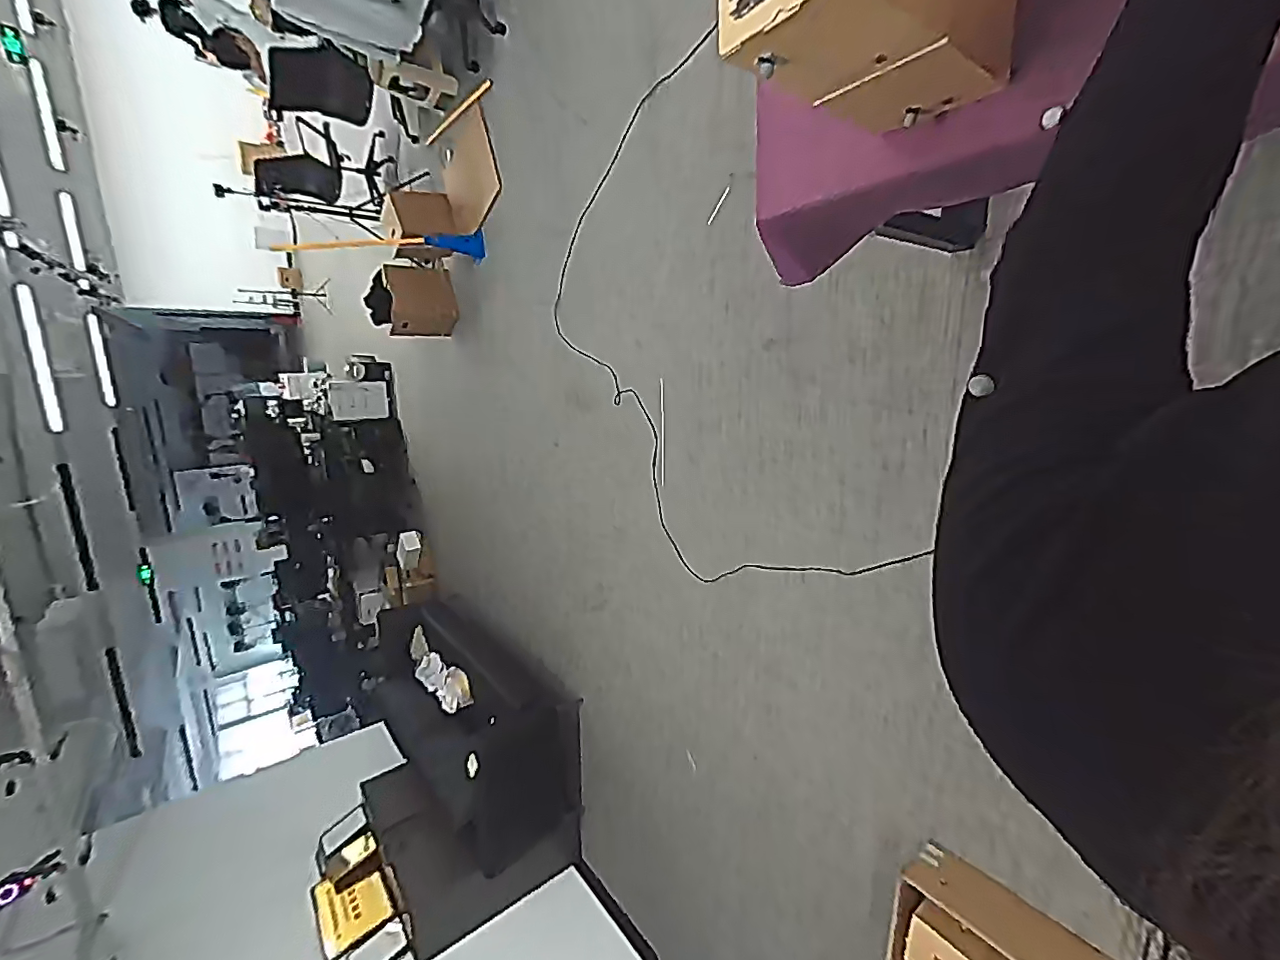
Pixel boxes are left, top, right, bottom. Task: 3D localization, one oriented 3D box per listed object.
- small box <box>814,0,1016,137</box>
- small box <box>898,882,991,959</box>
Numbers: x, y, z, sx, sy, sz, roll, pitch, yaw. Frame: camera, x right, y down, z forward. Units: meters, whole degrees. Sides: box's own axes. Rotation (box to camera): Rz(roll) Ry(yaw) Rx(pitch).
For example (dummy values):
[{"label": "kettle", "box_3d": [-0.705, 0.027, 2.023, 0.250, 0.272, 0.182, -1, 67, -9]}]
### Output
[{"label": "small box", "box_3d": [0.338, -0.561, 0.666, 0.168, 0.176, 0.179, 13, 109, 51]}, {"label": "small box", "box_3d": [0.863, 1.302, 1.529, 0.168, 0.176, 0.179, 19, 113, 49]}]
